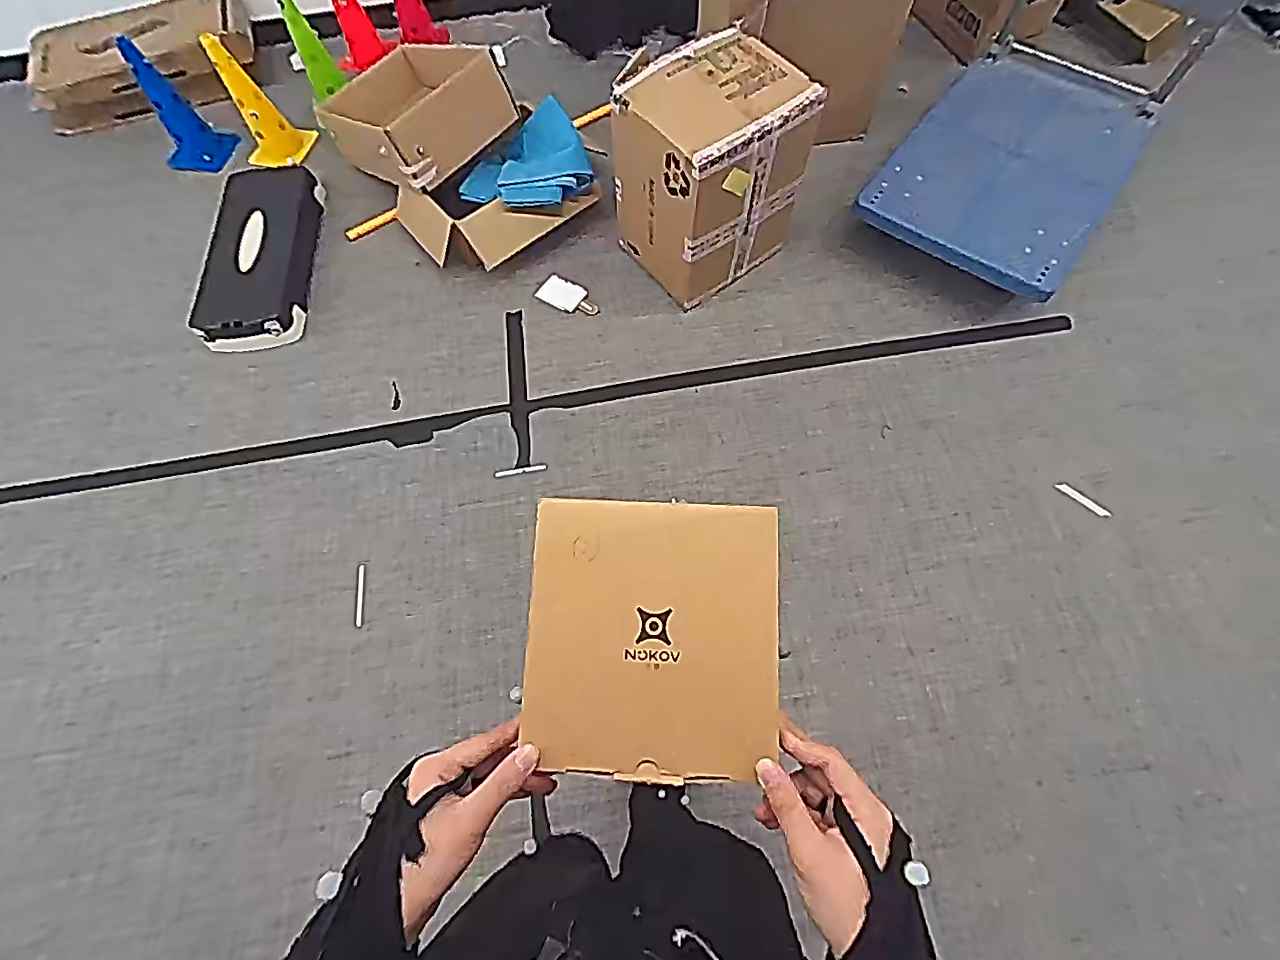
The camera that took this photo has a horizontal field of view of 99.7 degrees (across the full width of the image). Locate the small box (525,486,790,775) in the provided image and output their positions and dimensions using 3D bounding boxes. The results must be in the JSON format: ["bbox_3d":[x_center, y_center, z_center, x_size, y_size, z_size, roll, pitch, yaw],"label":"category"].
[{"bbox_3d":[0.014,0.109,0.426,0.168,0.176,0.179,2,78,1],"label":"small box"}]
